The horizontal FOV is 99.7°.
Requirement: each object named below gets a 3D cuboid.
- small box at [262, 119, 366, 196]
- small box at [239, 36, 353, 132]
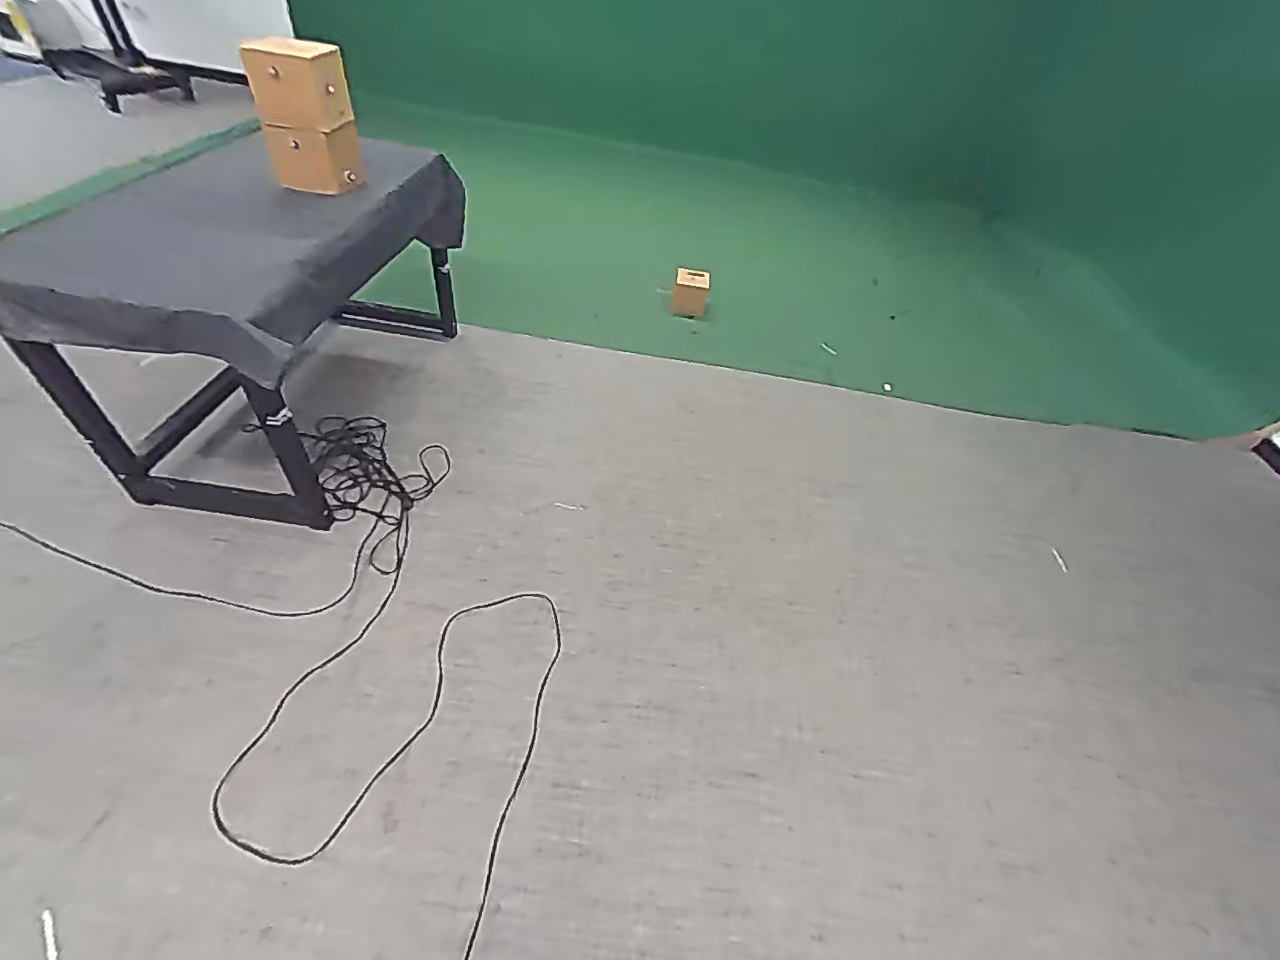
[{"bbox_3d":[-0.928,-0.942,1.557,0.179,0.176,0.168,10,47,-1],"label":"small box"},{"bbox_3d":[-0.901,-1.049,1.438,0.179,0.176,0.168,8,47,0],"label":"small box"}]
